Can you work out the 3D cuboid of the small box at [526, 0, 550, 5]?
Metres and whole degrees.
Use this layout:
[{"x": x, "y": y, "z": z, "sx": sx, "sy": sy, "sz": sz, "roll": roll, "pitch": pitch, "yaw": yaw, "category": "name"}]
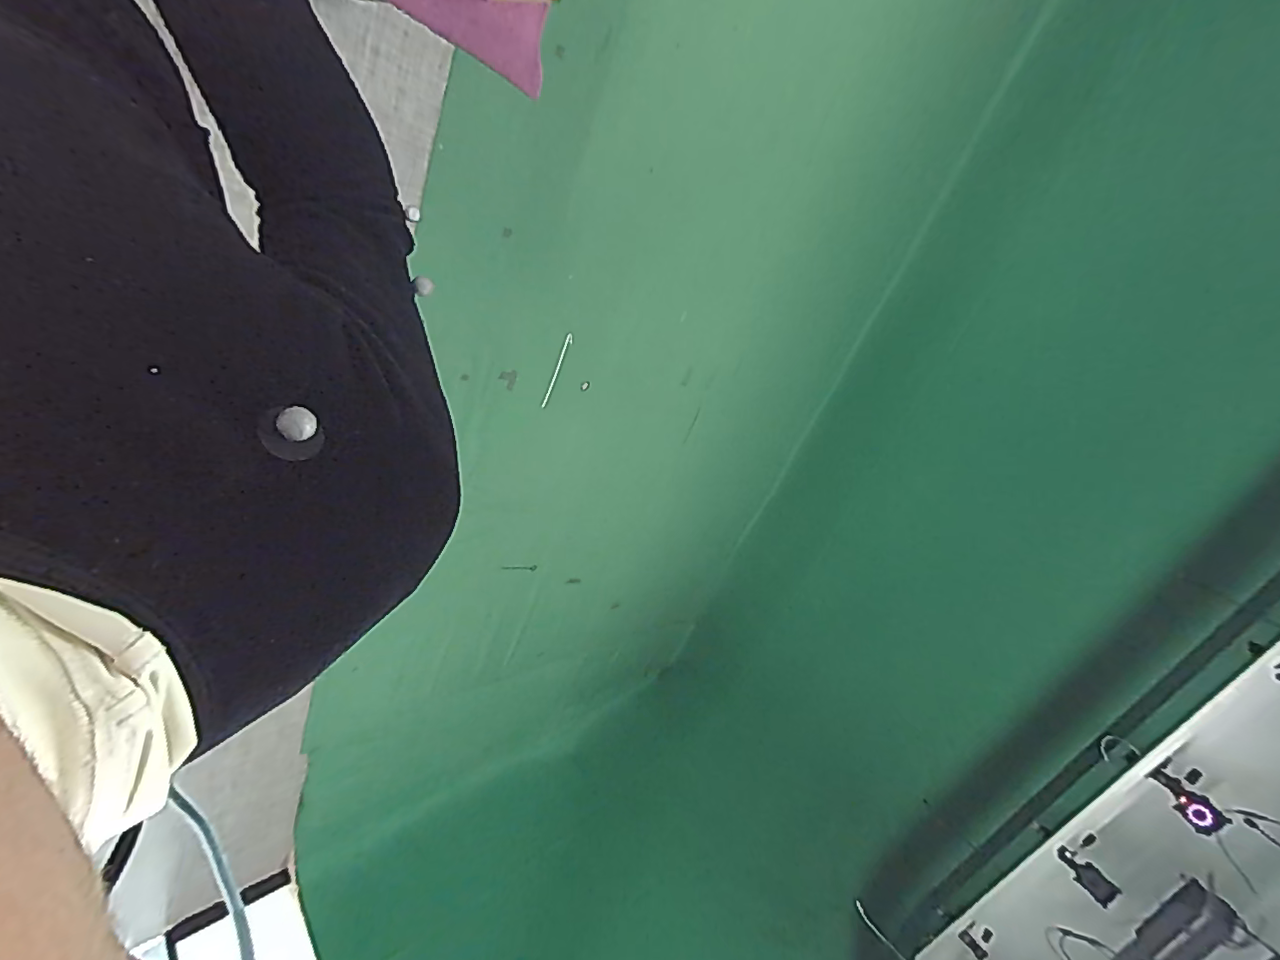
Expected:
[{"x": -0.183, "y": -0.674, "z": 0.591, "sx": 0.179, "sy": 0.176, "sz": 0.168, "roll": 0, "pitch": 121, "yaw": -50, "category": "small box"}]
